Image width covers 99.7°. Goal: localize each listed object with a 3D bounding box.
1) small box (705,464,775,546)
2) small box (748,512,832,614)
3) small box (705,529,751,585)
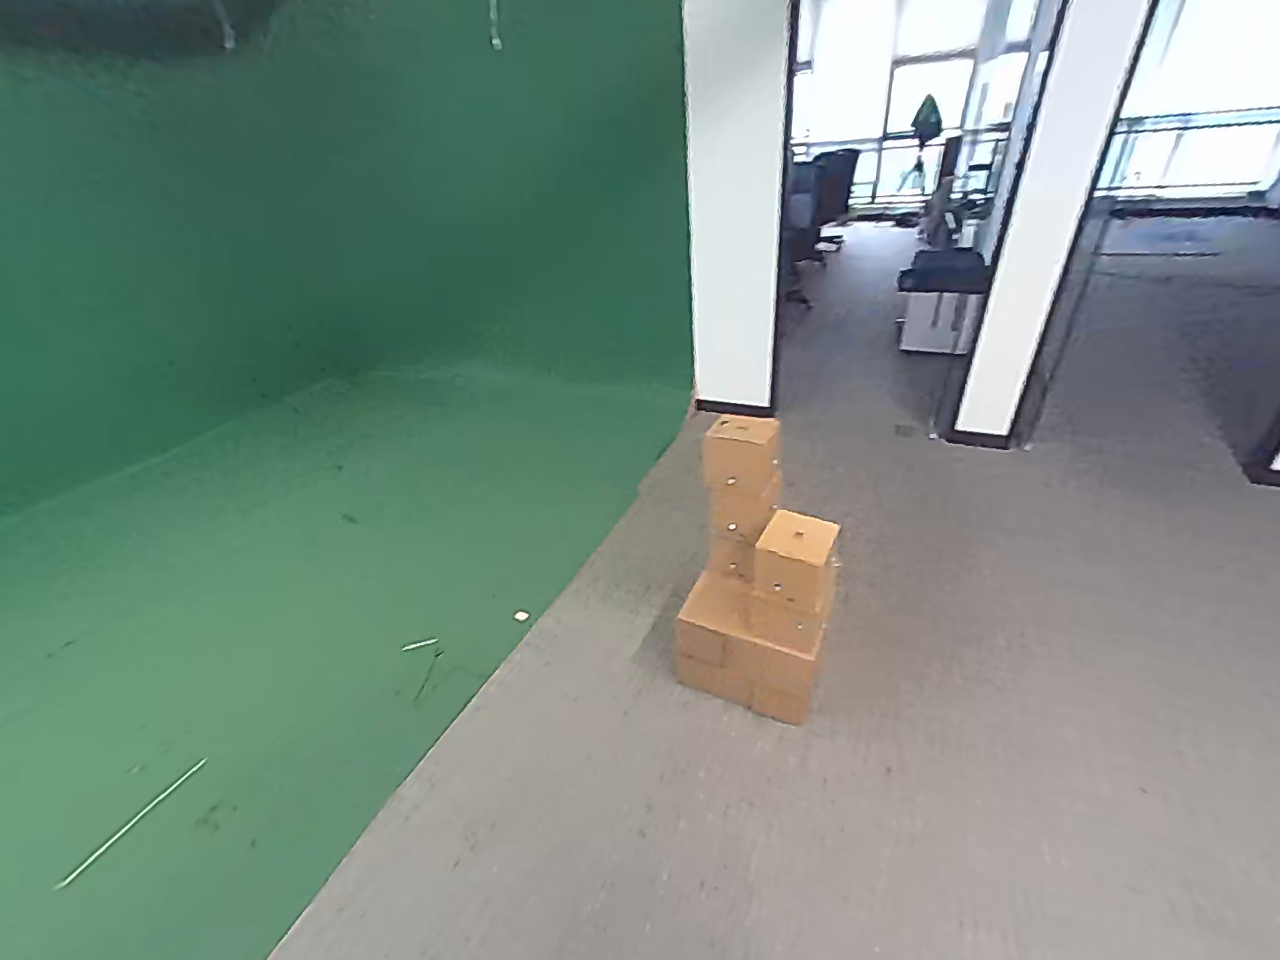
[{"bbox_3d":[0.303,0.075,1.656,0.168,0.176,0.179,12,34,26],"label":"small box"},{"bbox_3d":[0.389,0.215,1.418,0.168,0.176,0.179,15,36,26],"label":"small box"},{"bbox_3d":[0.313,0.209,1.752,0.168,0.176,0.179,11,32,25],"label":"small box"}]
